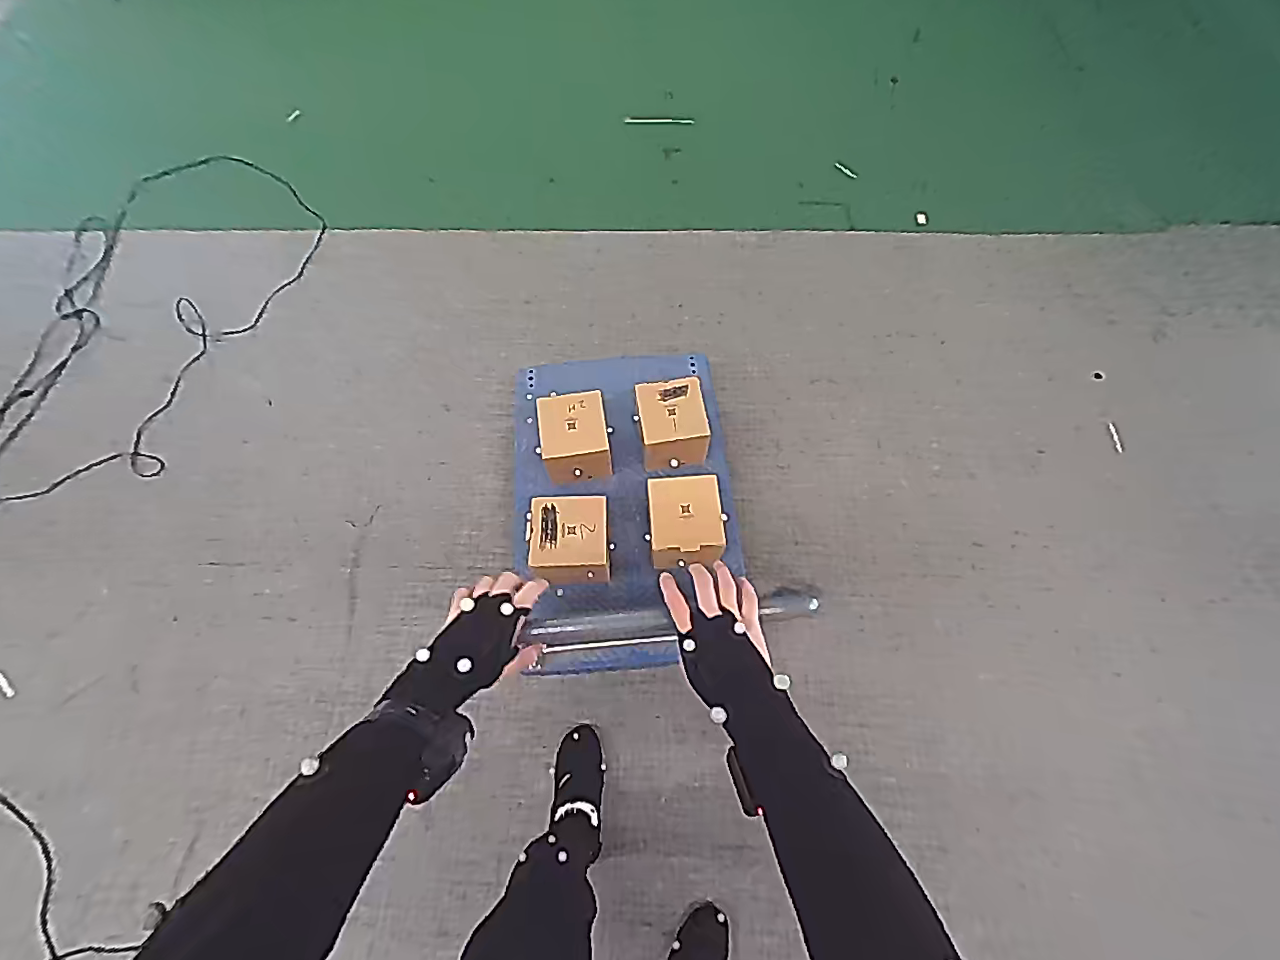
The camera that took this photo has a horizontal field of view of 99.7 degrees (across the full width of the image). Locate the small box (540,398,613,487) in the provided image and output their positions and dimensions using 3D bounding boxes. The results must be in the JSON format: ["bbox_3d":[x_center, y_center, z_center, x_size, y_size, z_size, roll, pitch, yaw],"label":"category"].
[{"bbox_3d":[-0.164,-0.090,1.429,0.168,0.176,0.179,-8,66,-4],"label":"small box"}]

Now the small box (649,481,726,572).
[{"bbox_3d":[0.110,0.118,1.334,0.168,0.176,0.179,-4,66,-1],"label":"small box"}]

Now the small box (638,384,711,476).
[{"bbox_3d":[0.085,-0.129,1.442,0.168,0.176,0.179,-9,67,-2],"label":"small box"}]
